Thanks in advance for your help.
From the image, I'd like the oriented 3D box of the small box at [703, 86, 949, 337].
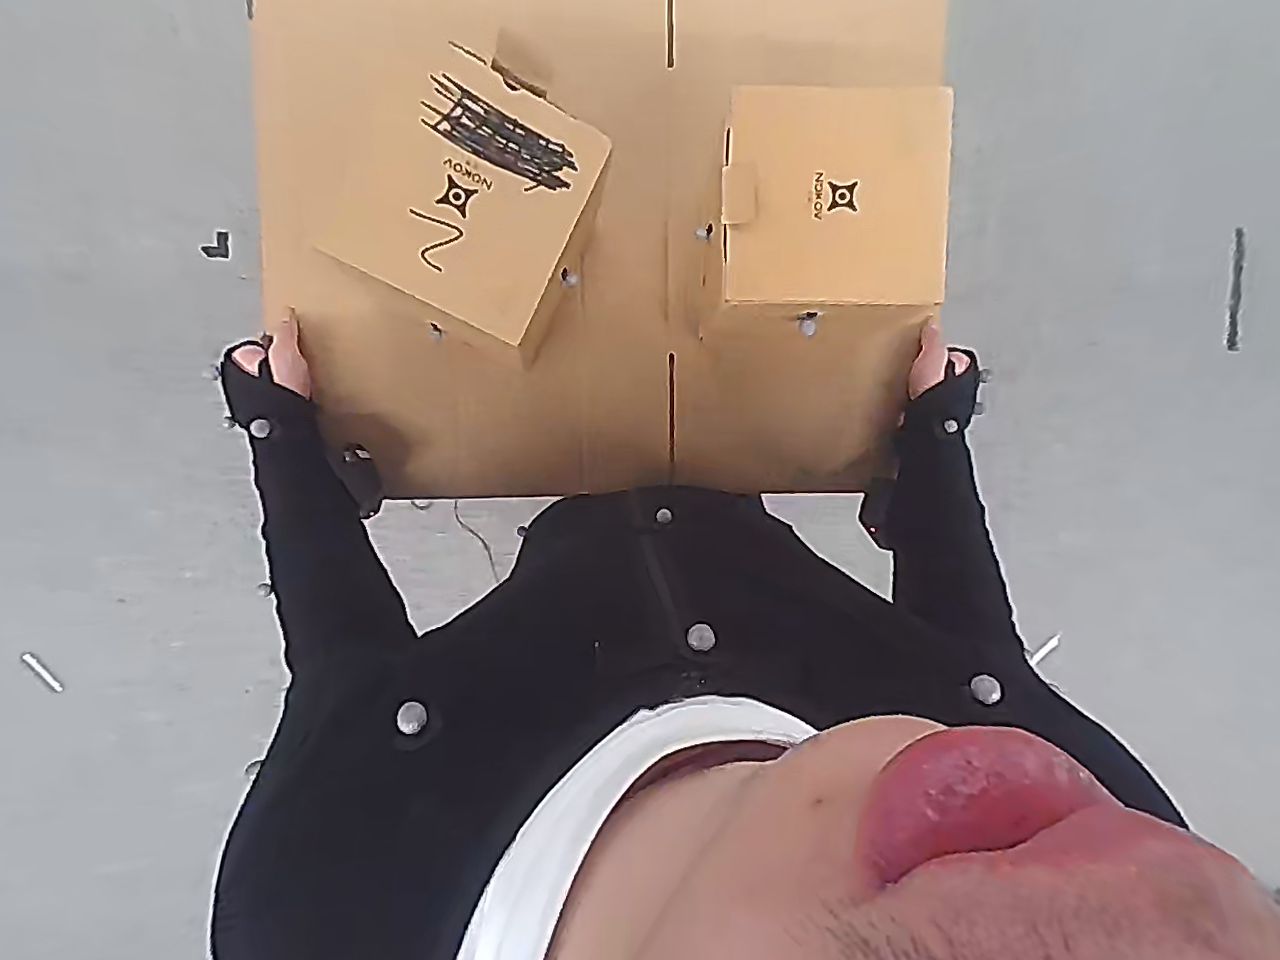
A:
[{"bbox_3d":[0.159,-0.236,0.516,0.179,0.176,0.168,0,94,1],"label":"small box"}]
